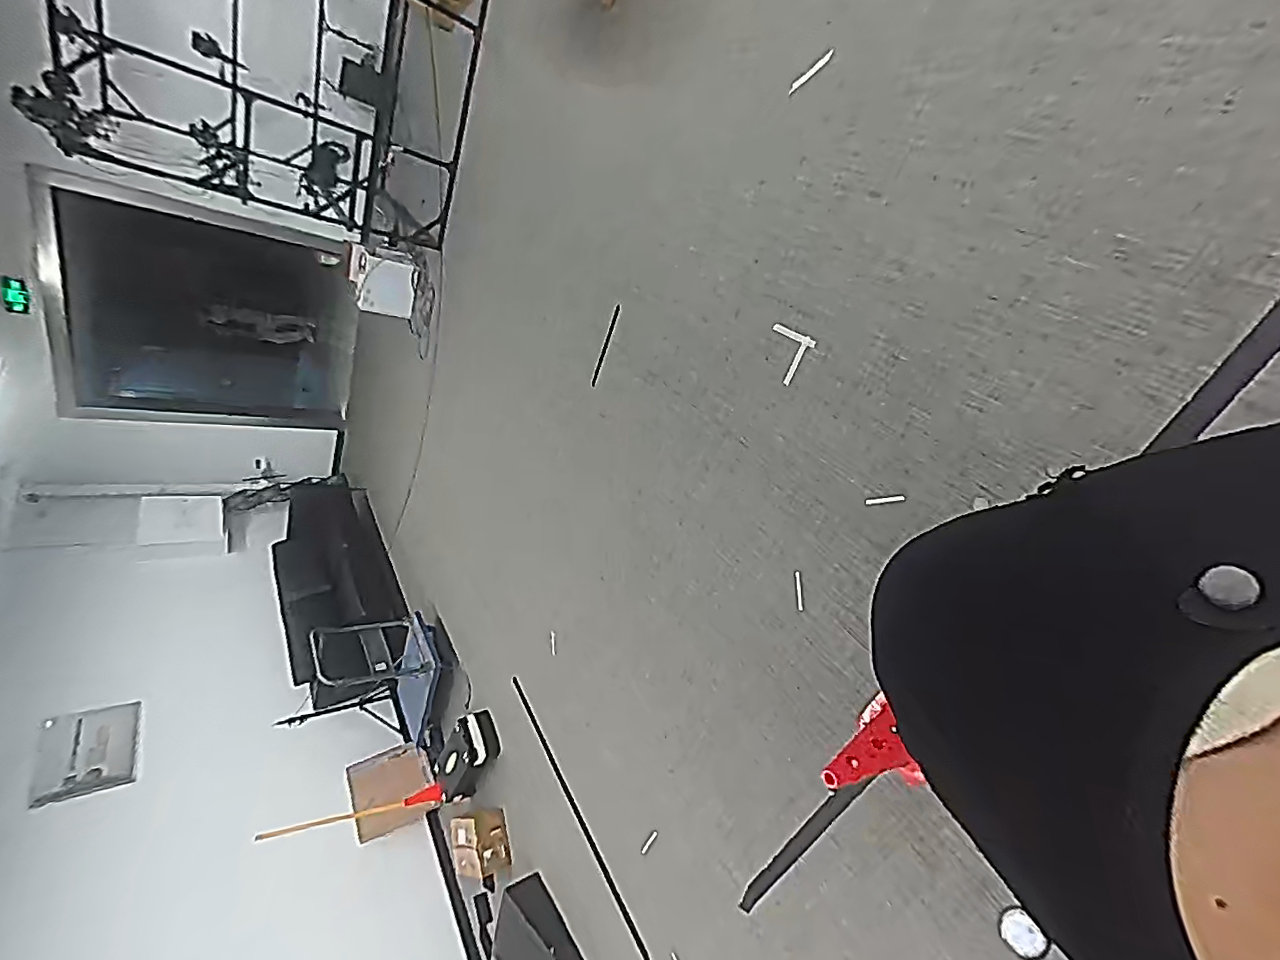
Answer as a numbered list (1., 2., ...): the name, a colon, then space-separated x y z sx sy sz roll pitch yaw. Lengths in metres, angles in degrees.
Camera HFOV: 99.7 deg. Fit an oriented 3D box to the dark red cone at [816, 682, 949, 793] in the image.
1. dark red cone: 0.540 0.653 1.289 0.201 0.394 0.202 45 123 39
